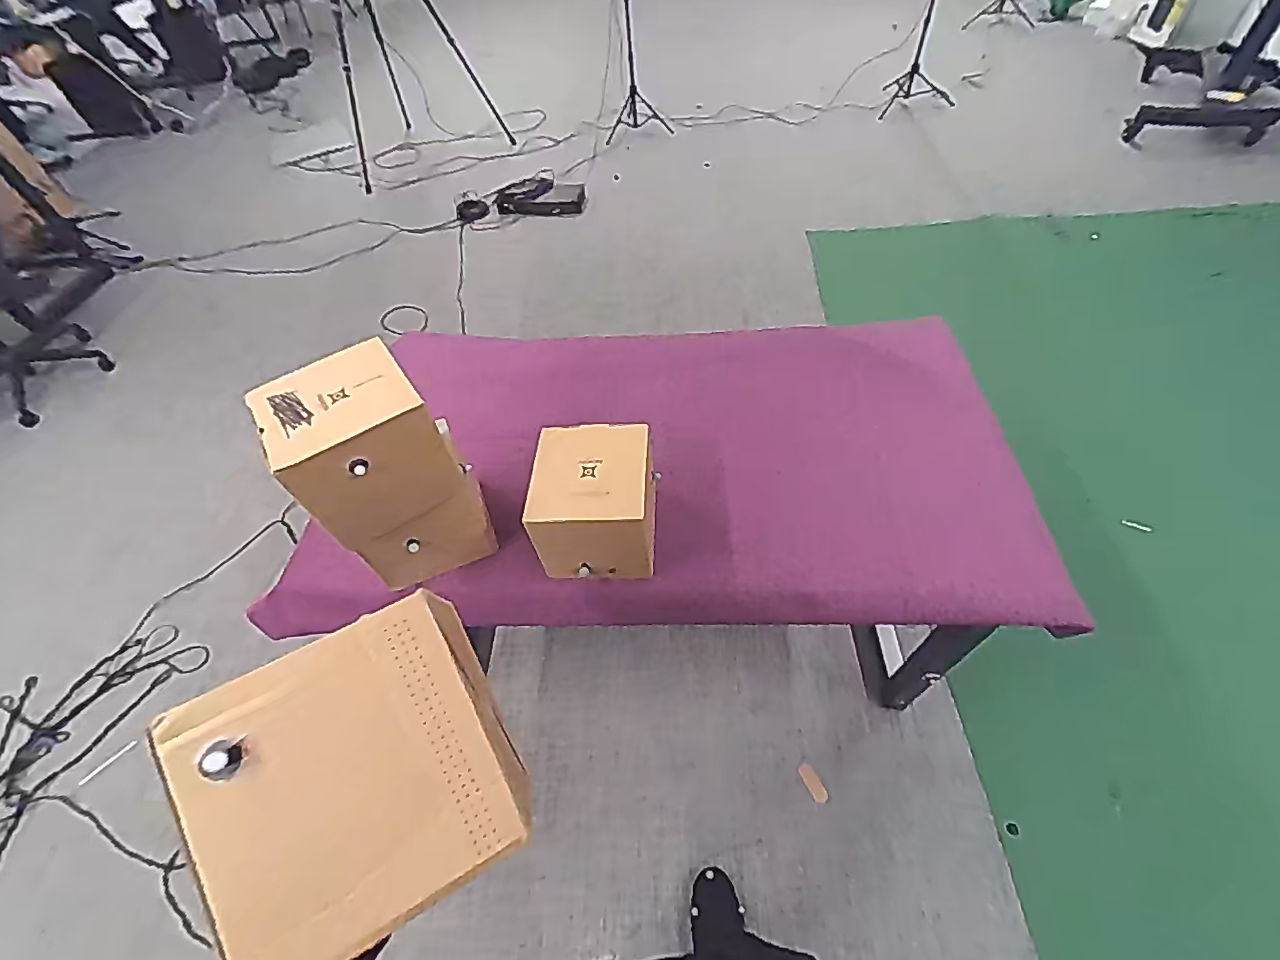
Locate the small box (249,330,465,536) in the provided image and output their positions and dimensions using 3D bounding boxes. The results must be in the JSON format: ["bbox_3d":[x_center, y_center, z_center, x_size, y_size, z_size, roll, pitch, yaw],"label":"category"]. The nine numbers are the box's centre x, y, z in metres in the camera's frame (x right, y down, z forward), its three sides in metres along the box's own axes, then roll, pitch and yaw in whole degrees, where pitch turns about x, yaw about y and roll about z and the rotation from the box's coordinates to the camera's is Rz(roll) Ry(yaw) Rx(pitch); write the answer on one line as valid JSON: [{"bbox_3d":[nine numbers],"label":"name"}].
[{"bbox_3d":[-0.360,-0.058,0.710,0.179,0.176,0.168,-31,56,-18],"label":"small box"}]

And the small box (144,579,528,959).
[{"bbox_3d":[-0.190,0.193,0.395,0.176,0.168,0.179,-24,80,-17],"label":"small box"}]

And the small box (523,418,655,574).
[{"bbox_3d":[-0.065,0.025,0.827,0.168,0.176,0.179,-1,52,6],"label":"small box"}]

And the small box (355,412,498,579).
[{"bbox_3d":[-0.346,0.029,0.850,0.179,0.176,0.168,-21,54,-10],"label":"small box"}]
